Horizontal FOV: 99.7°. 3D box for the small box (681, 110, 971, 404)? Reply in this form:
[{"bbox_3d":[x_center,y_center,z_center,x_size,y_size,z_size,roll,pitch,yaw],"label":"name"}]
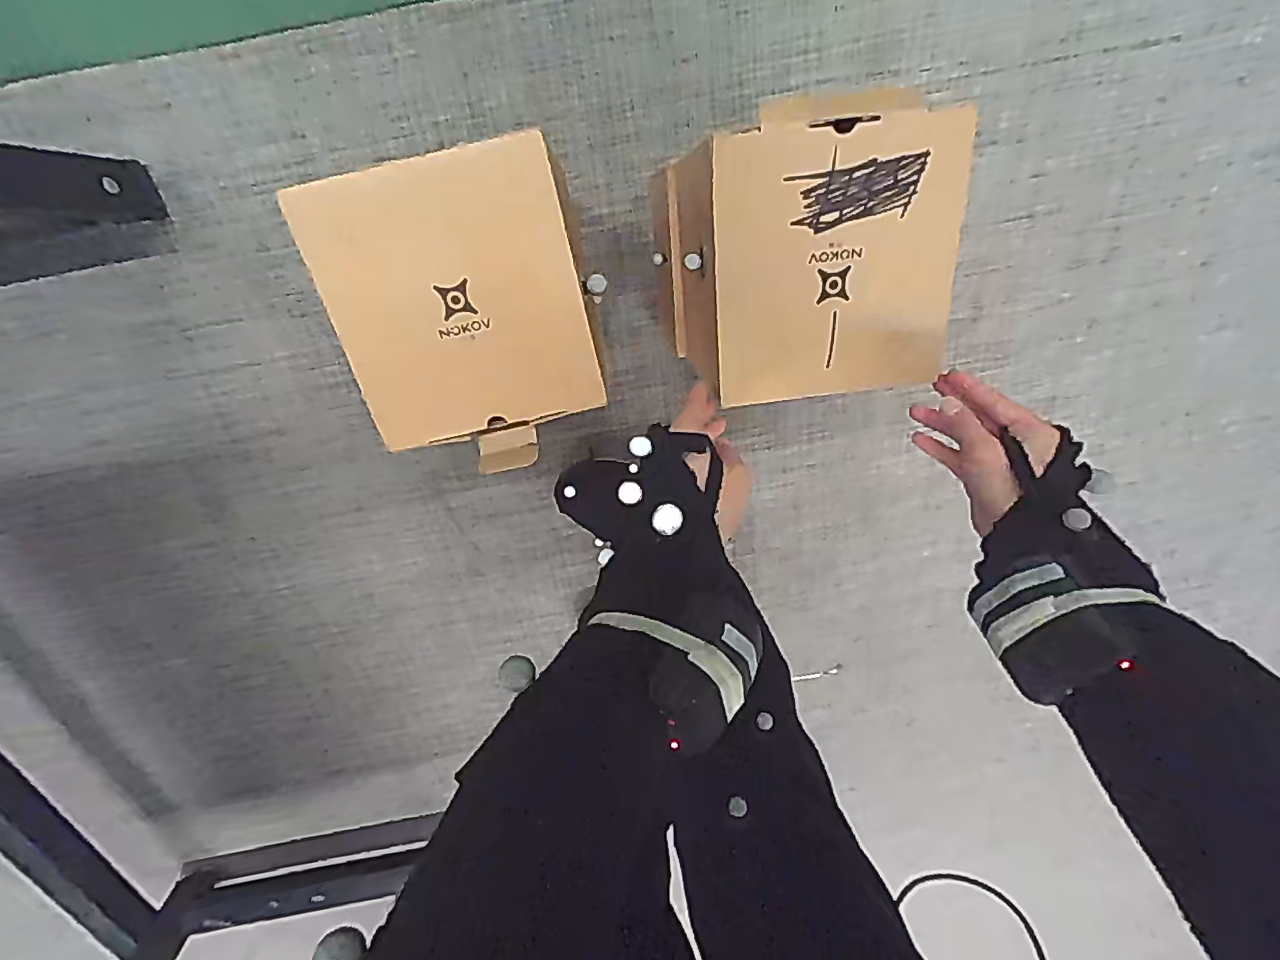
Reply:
[{"bbox_3d":[0.128,-0.175,0.441,0.168,0.176,0.179,-6,115,-1],"label":"small box"}]

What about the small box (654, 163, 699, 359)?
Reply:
[{"bbox_3d":[0.108,-0.243,0.590,0.168,0.176,0.179,-7,116,-1],"label":"small box"}]
